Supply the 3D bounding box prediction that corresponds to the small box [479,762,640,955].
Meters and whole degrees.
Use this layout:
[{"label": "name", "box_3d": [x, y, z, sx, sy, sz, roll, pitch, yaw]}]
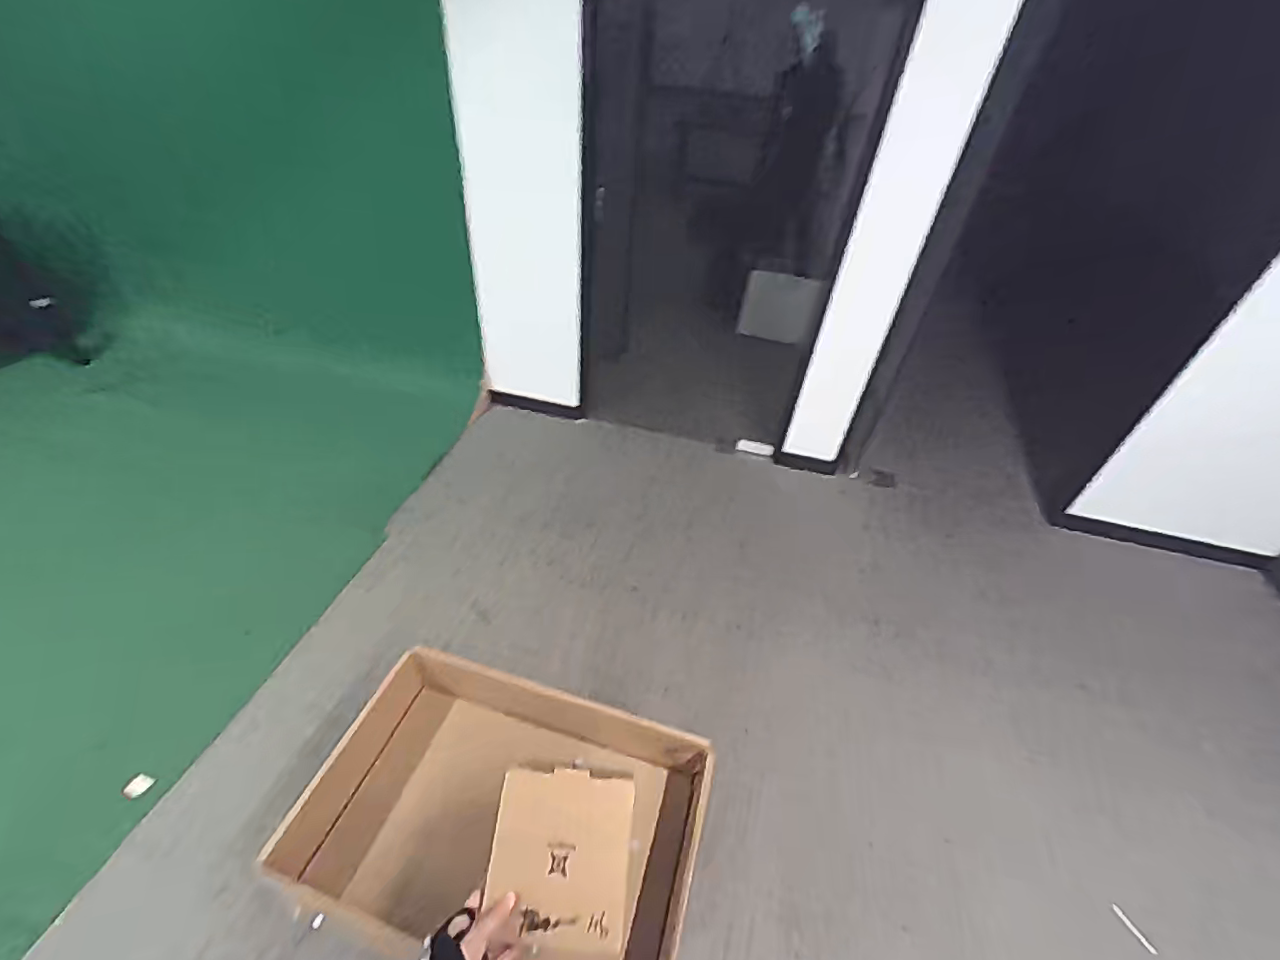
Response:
[{"label": "small box", "box_3d": [-0.095, 0.478, 0.711, 0.168, 0.176, 0.179, 7, 64, 1]}]
